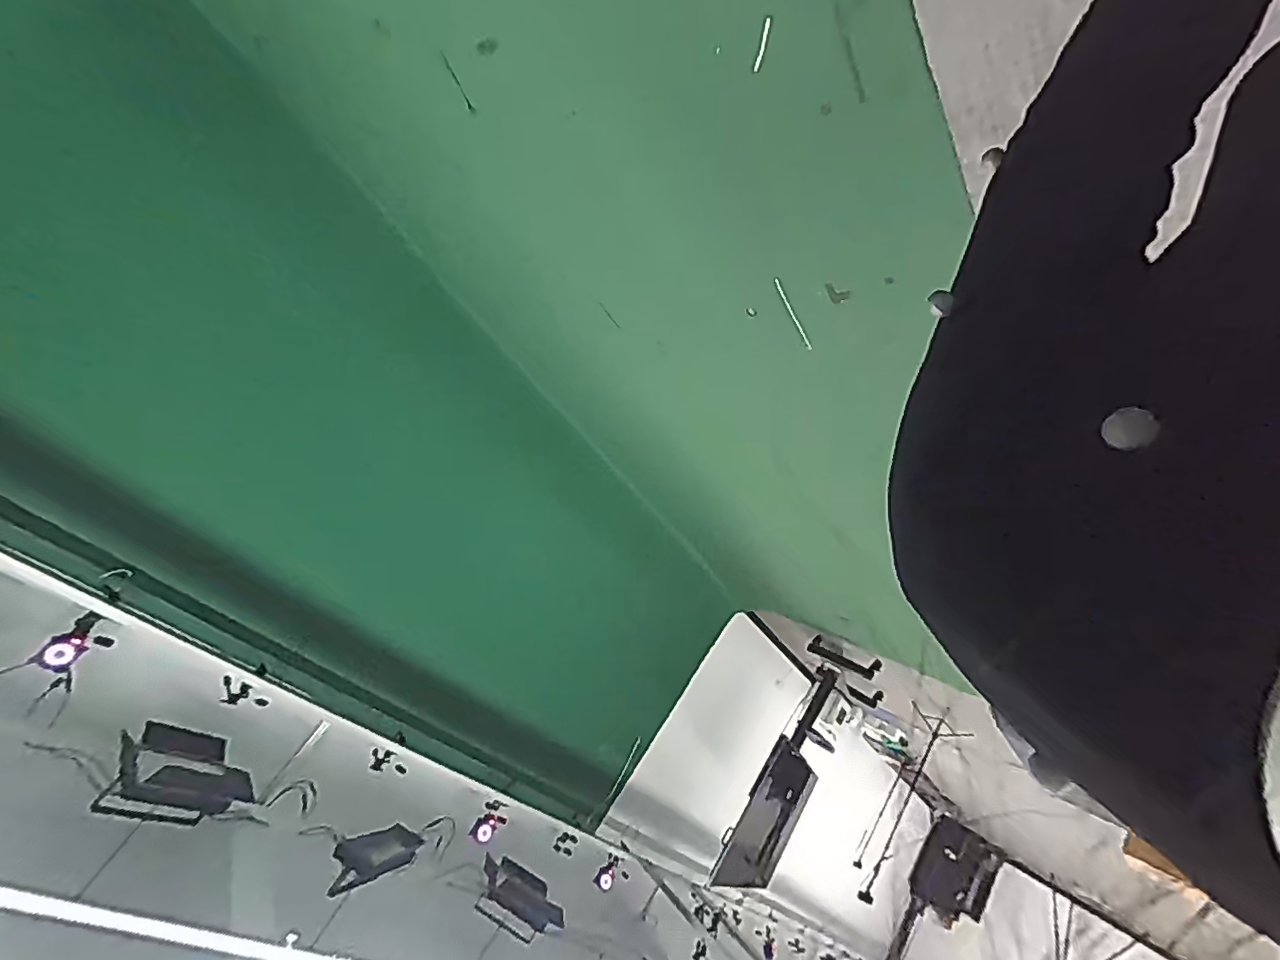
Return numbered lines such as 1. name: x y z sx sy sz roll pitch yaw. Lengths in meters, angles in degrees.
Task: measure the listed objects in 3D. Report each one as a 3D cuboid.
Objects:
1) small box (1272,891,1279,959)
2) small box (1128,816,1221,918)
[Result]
1. small box: 1.747 1.167 1.368 0.168 0.176 0.179 48 158 -29
2. small box: 1.580 1.136 1.598 0.168 0.176 0.179 12 150 53
